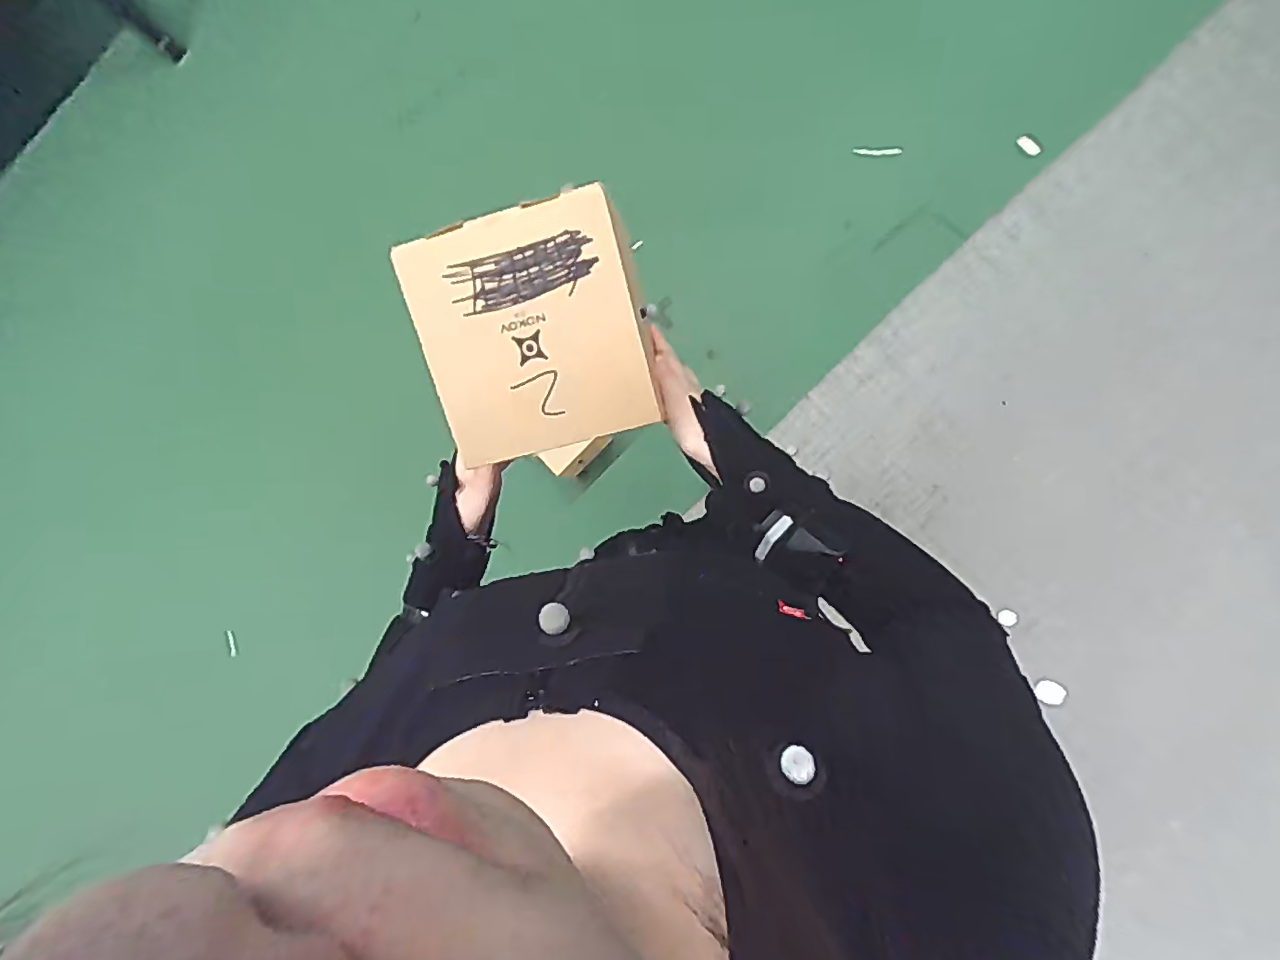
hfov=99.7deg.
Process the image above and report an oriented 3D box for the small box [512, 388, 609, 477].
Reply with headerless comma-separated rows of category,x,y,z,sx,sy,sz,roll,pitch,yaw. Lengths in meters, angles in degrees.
small box,-0.209,-0.125,1.479,0.168,0.176,0.179,-45,82,6
